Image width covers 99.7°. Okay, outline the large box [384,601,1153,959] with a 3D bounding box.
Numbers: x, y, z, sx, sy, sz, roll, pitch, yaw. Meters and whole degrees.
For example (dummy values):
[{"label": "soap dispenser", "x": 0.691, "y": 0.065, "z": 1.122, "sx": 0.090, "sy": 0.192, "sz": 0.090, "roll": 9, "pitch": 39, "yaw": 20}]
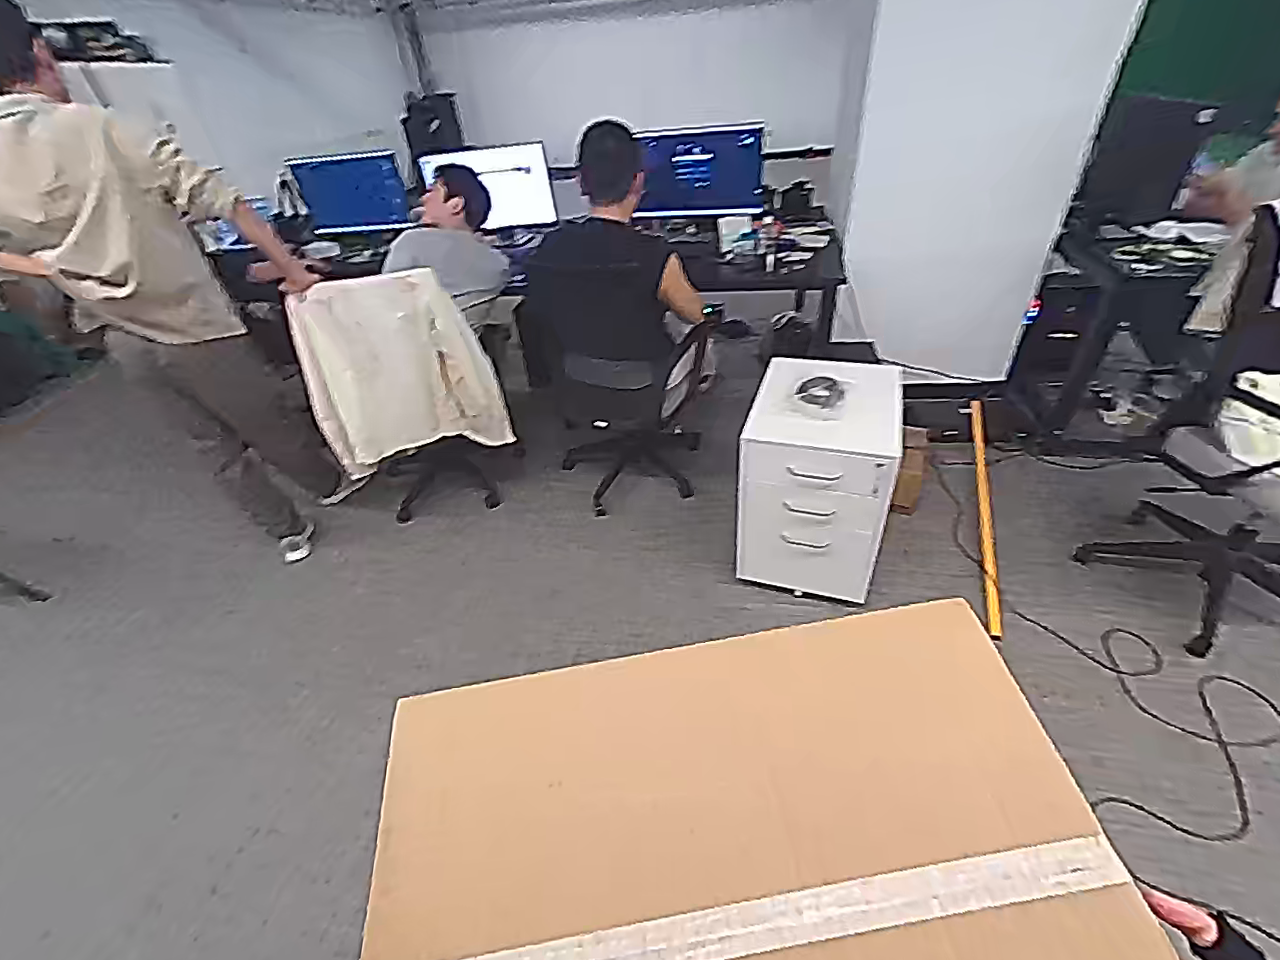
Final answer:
[{"label": "large box", "x": 0.067, "y": 0.335, "z": 0.409, "sx": 0.408, "sy": 0.320, "sz": 0.320, "roll": -11, "pitch": 52, "yaw": -1}]
